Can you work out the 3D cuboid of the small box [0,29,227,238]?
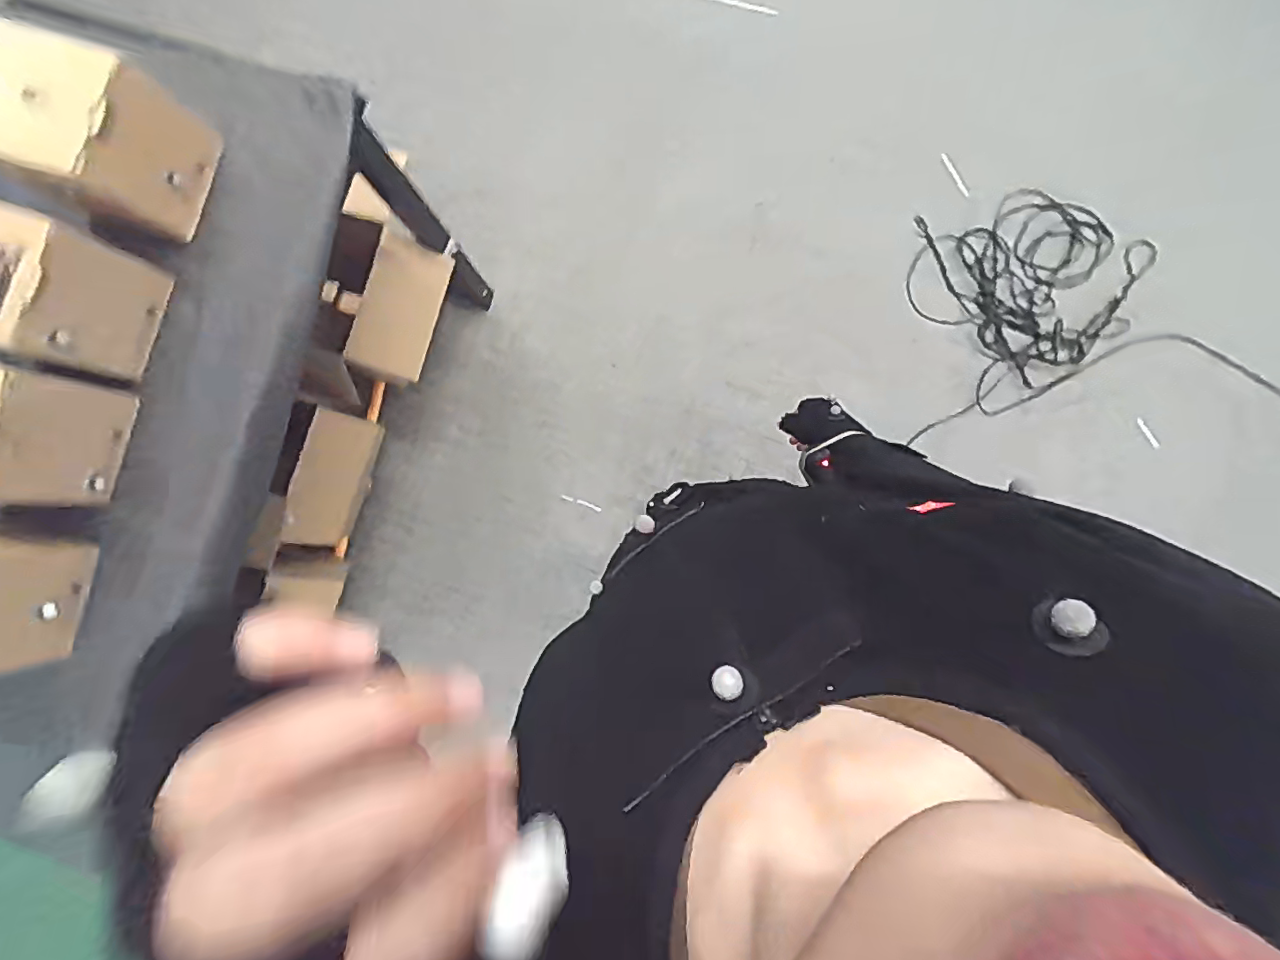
[{"bbox_3d":[-0.743,-0.468,0.756,0.179,0.176,0.168,16,88,3],"label":"small box"}]
